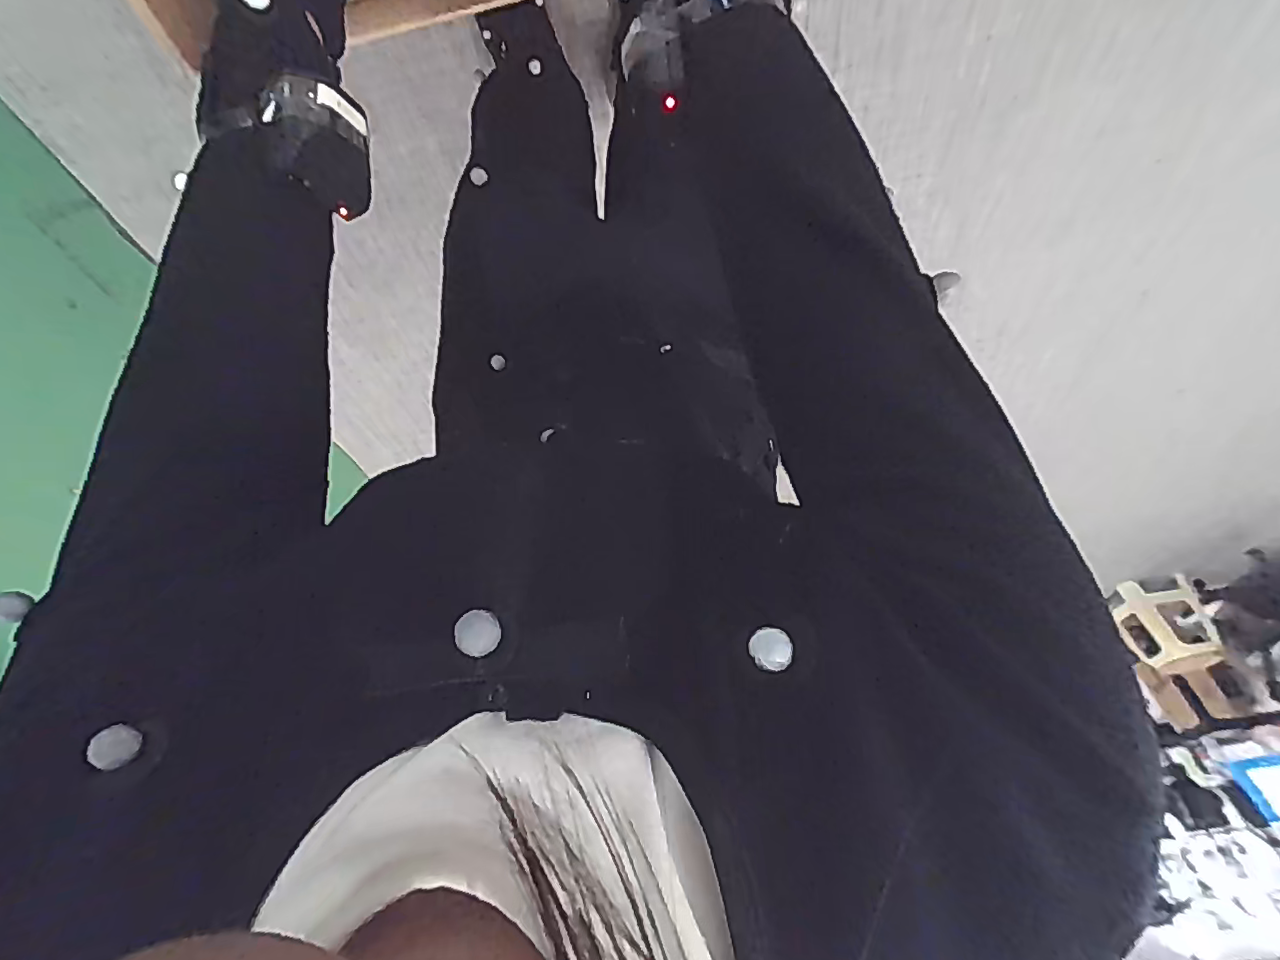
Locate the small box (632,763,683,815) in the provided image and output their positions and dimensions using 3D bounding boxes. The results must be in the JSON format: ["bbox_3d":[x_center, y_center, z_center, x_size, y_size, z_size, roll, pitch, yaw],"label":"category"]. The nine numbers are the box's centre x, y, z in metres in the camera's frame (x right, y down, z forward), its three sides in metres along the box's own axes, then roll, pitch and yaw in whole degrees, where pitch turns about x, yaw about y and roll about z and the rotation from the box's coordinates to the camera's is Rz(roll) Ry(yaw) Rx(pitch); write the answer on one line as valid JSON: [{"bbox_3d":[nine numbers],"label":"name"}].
[{"bbox_3d":[0.071,1.265,2.204,0.168,0.176,0.179,-13,142,7],"label":"small box"}]

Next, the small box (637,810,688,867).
[{"bbox_3d":[0.088,1.397,2.107,0.168,0.176,0.179,-12,141,6],"label":"small box"}]
